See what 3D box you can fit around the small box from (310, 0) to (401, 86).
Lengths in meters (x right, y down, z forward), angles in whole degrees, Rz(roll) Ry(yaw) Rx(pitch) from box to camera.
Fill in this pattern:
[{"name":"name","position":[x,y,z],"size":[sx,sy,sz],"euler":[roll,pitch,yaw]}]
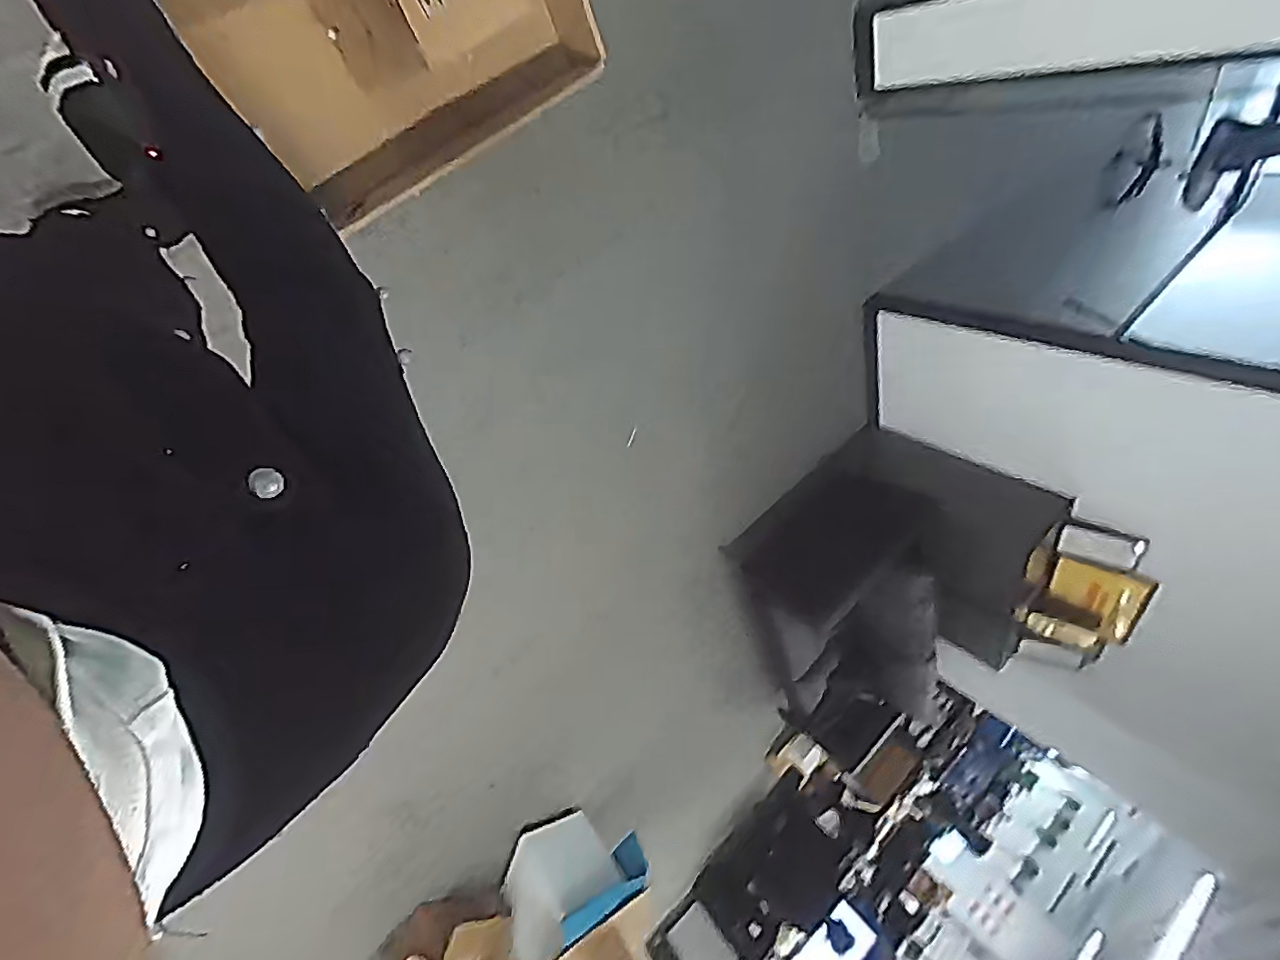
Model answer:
[{"name":"small box","position":[-0.389,-0.744,0.837],"size":[0.179,0.176,0.168],"euler":[-42,135,-16]}]
